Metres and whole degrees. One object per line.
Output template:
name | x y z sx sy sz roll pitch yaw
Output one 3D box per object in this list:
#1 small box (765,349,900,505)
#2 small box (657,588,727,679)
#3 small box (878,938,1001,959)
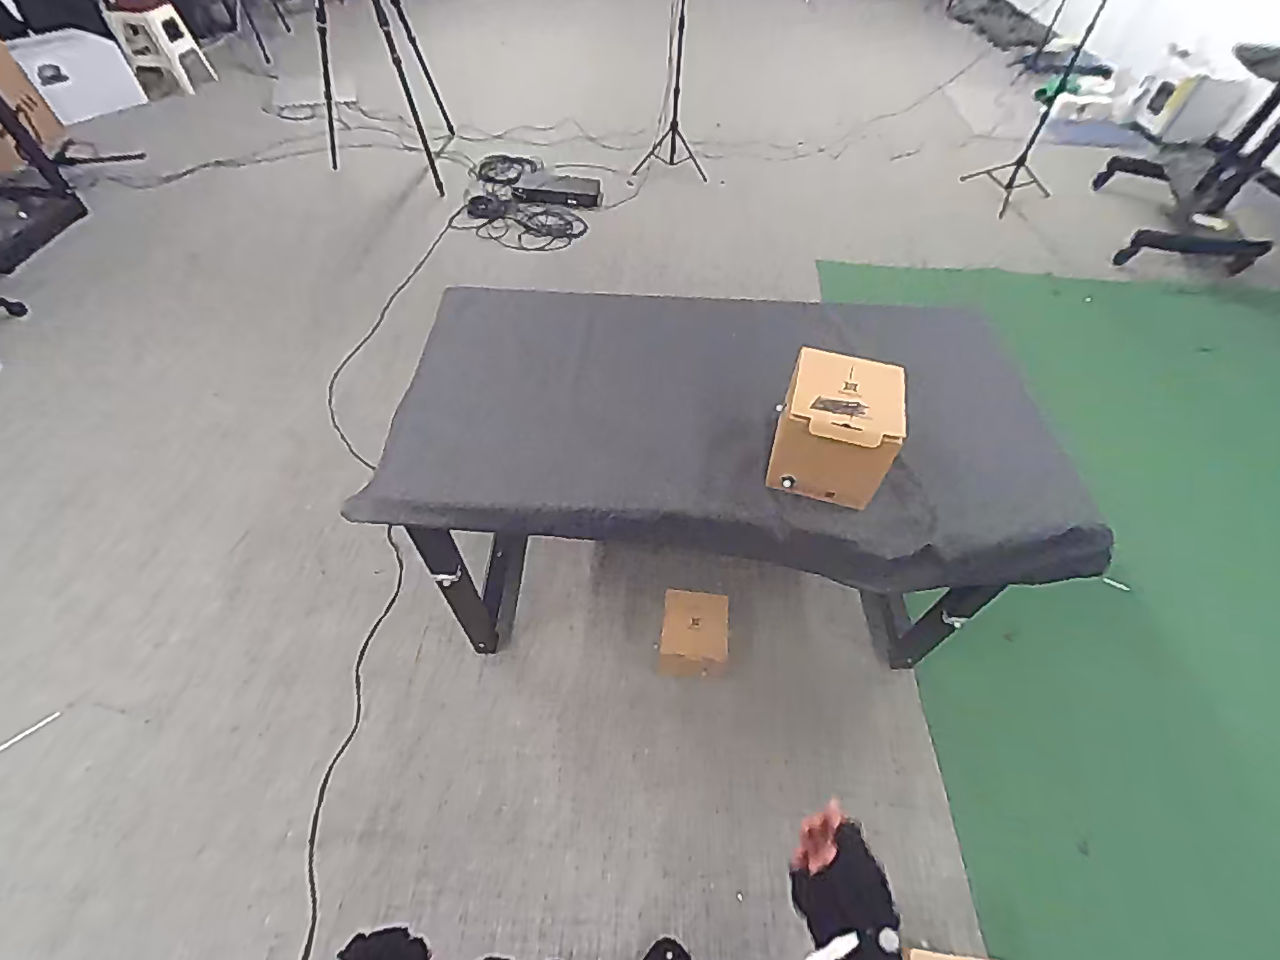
small box | 0.312 -0.084 0.894 0.168 0.176 0.179 15 52 10
small box | 0.135 0.409 1.429 0.168 0.176 0.179 6 51 2
small box | 0.560 0.971 1.004 0.179 0.176 0.168 6 52 4
